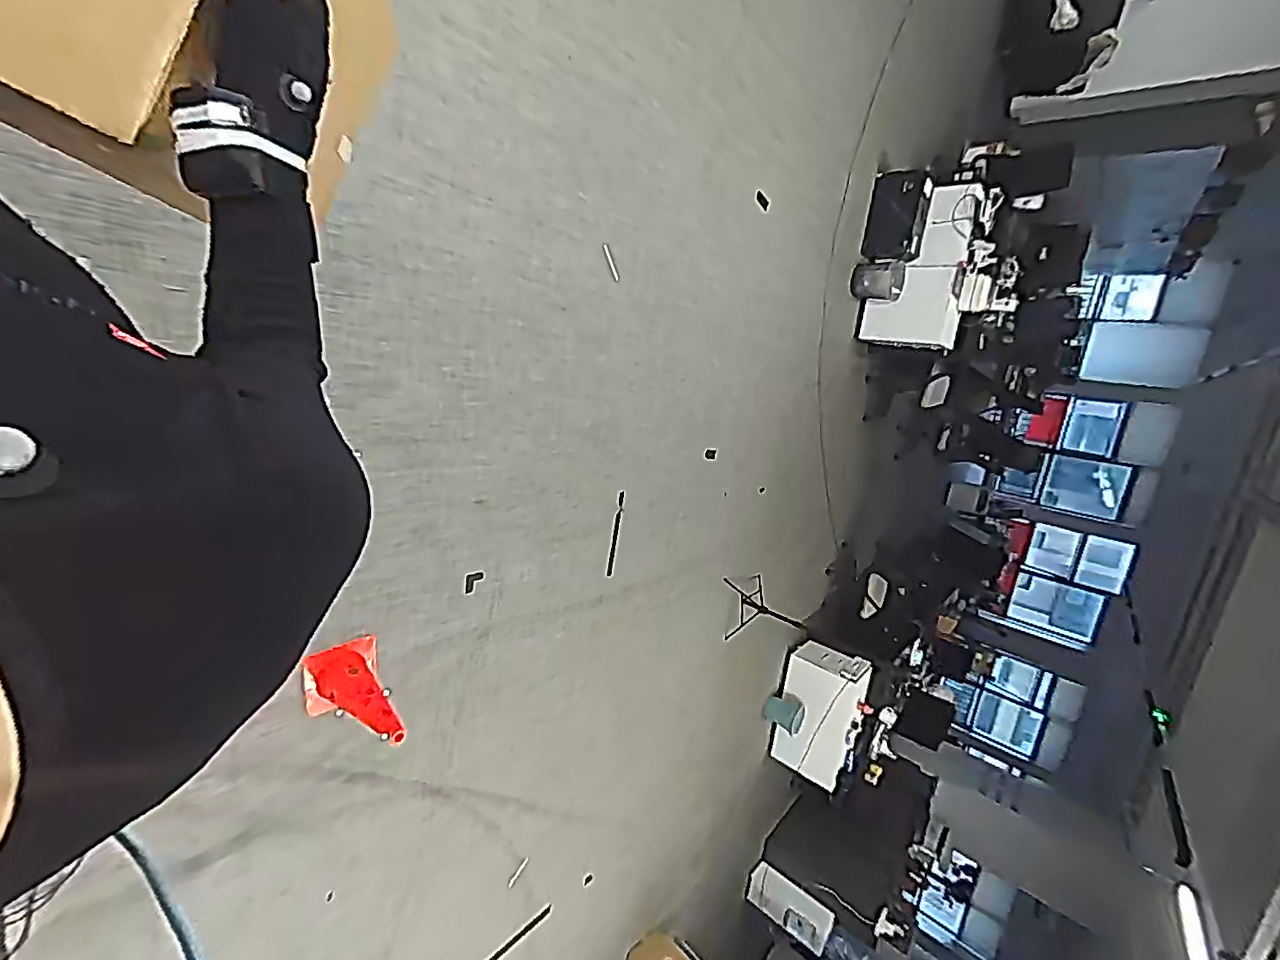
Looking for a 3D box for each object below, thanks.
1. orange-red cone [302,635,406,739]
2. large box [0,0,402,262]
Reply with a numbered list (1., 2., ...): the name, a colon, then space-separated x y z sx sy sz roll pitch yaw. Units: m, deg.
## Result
1. orange-red cone: -0.753 0.607 1.489 0.198 0.360 0.199 -11 111 -50
2. large box: -0.508 -0.478 0.502 0.408 0.320 0.320 26 89 -13
